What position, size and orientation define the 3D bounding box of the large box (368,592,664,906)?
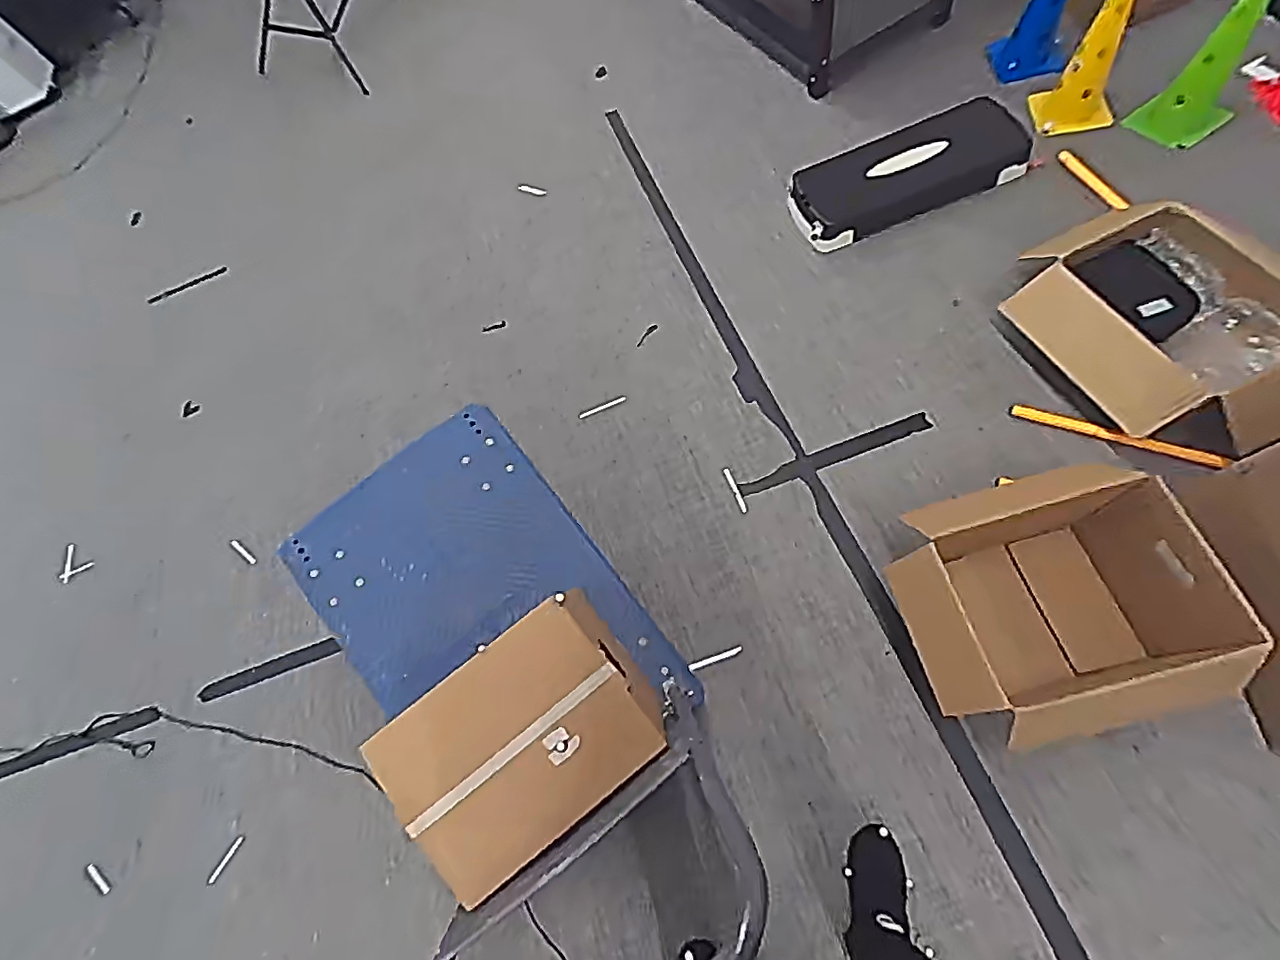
[{"bbox_3d":[-0.207,0.463,1.039,0.408,0.320,0.320,-37,84,-6],"label":"large box"}]
